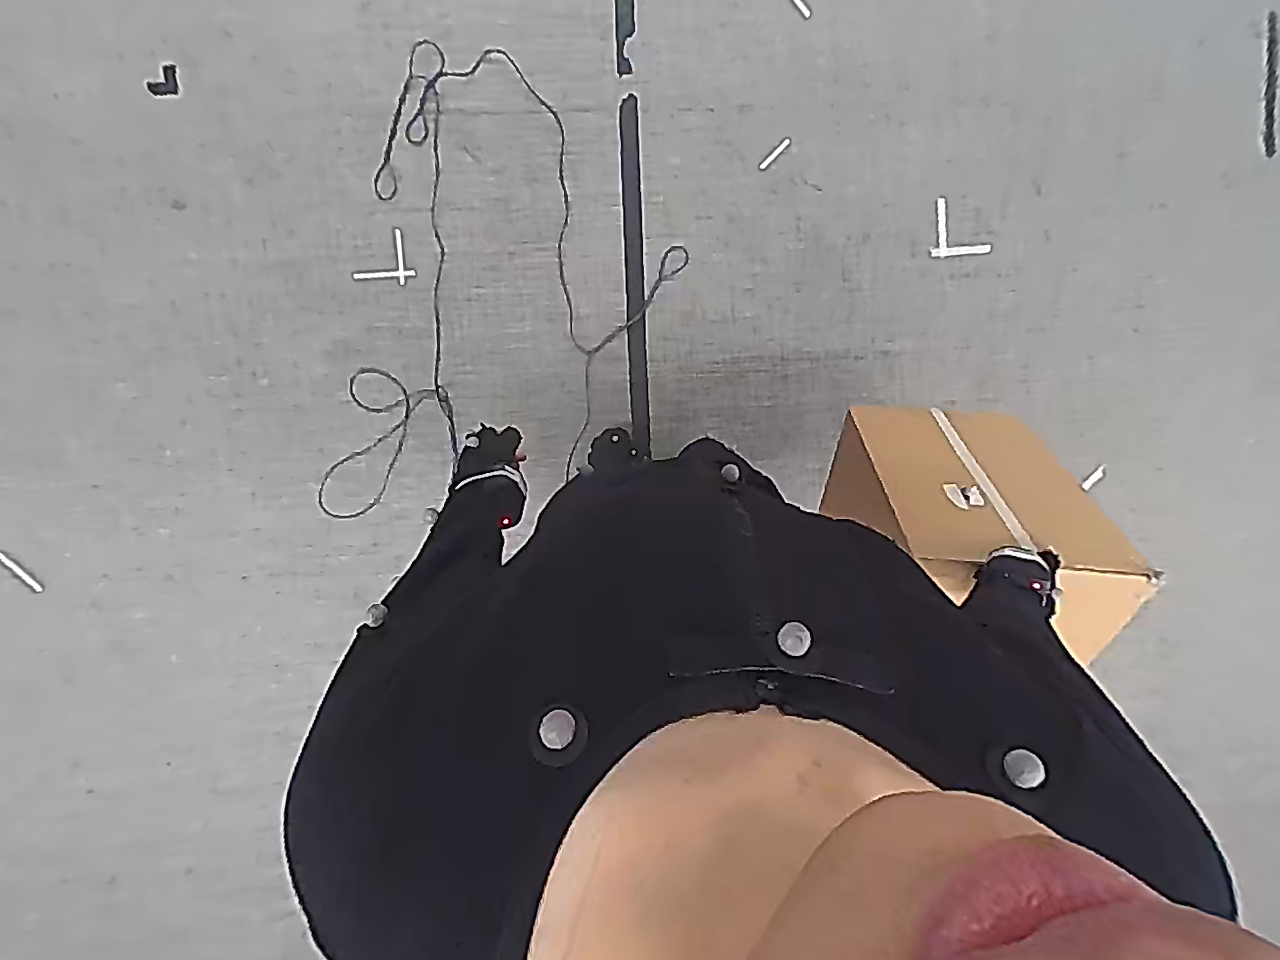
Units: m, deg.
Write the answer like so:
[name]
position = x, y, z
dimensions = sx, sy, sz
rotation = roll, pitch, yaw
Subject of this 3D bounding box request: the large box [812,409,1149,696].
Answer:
[large box]
position = 0.527, 0.113, 0.962
dimensions = 0.320, 0.408, 0.320
rotation = 2, 129, 3
